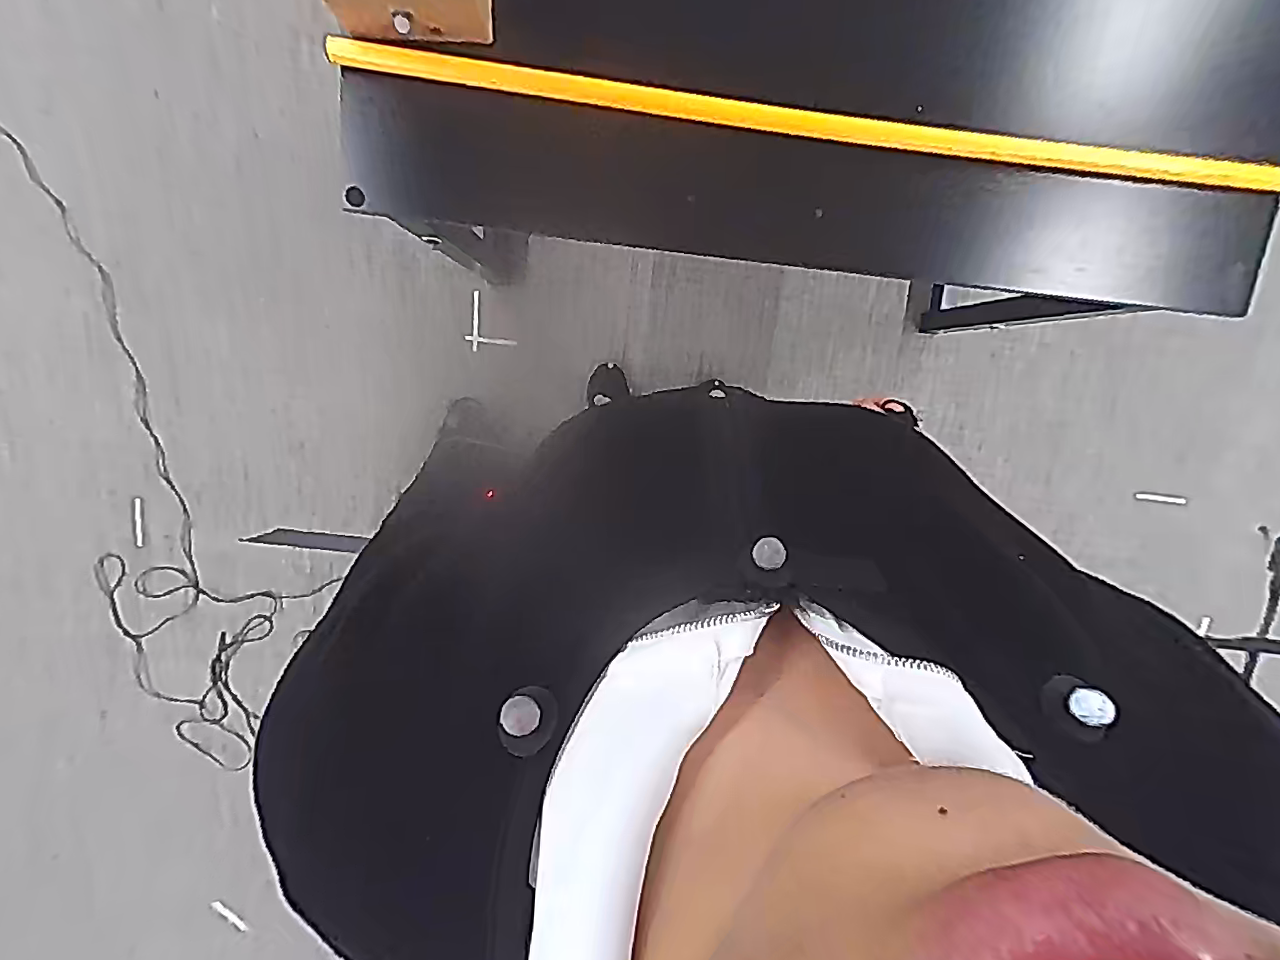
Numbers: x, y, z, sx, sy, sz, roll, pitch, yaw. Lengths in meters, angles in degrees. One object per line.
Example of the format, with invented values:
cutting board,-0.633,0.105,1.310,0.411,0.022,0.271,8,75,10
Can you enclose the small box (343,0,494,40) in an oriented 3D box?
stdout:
small box,-0.247,-0.594,0.542,0.168,0.176,0.179,1,103,-3
